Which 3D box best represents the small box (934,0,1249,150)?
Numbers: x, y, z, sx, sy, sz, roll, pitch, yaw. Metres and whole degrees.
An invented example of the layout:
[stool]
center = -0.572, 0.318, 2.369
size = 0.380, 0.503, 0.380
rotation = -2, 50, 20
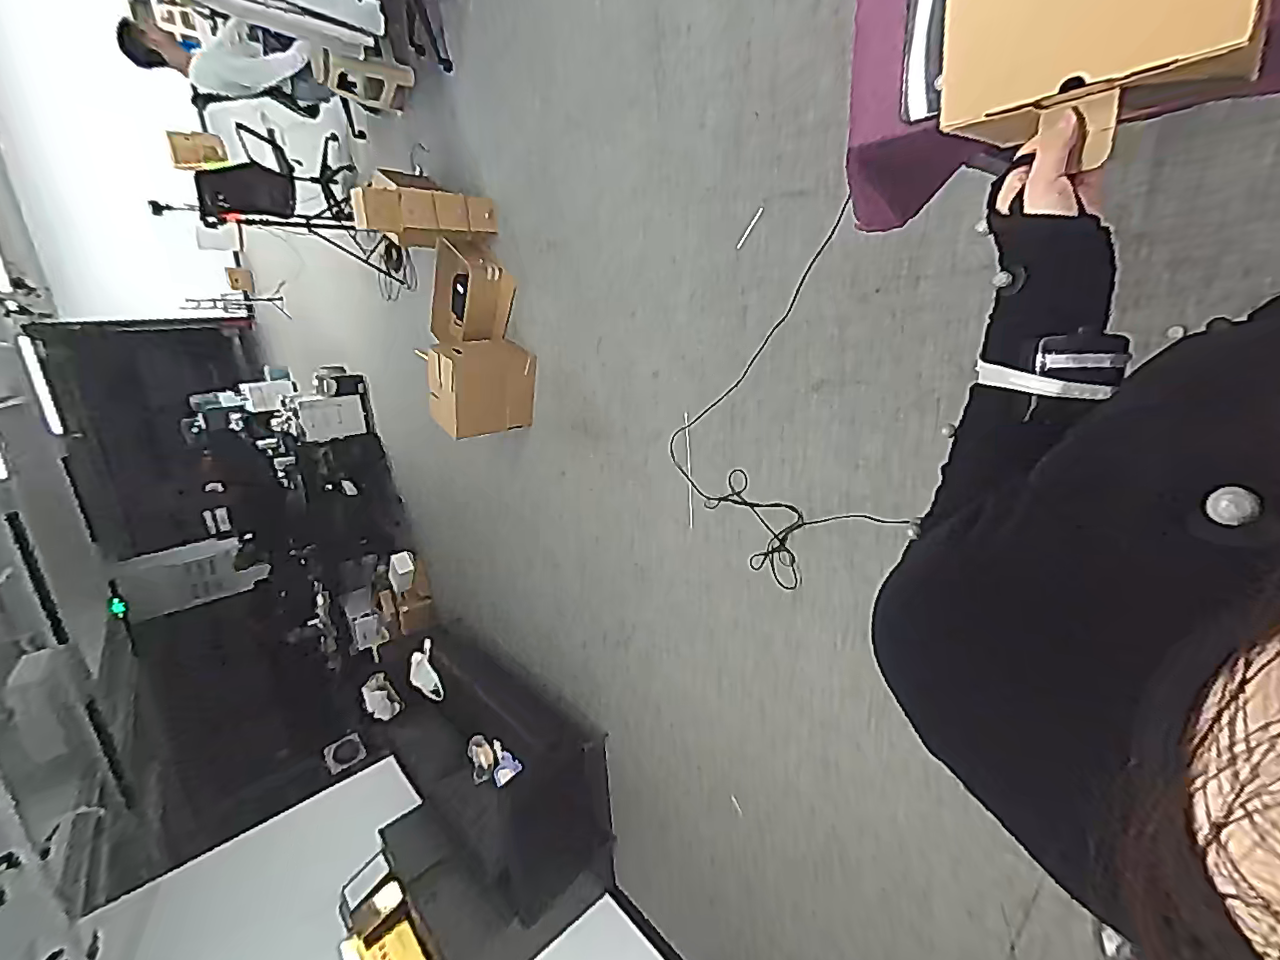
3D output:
[small box]
center = 0.341, -0.369, 0.404
size = 0.168, 0.176, 0.179
rotation = 12, 118, 44
